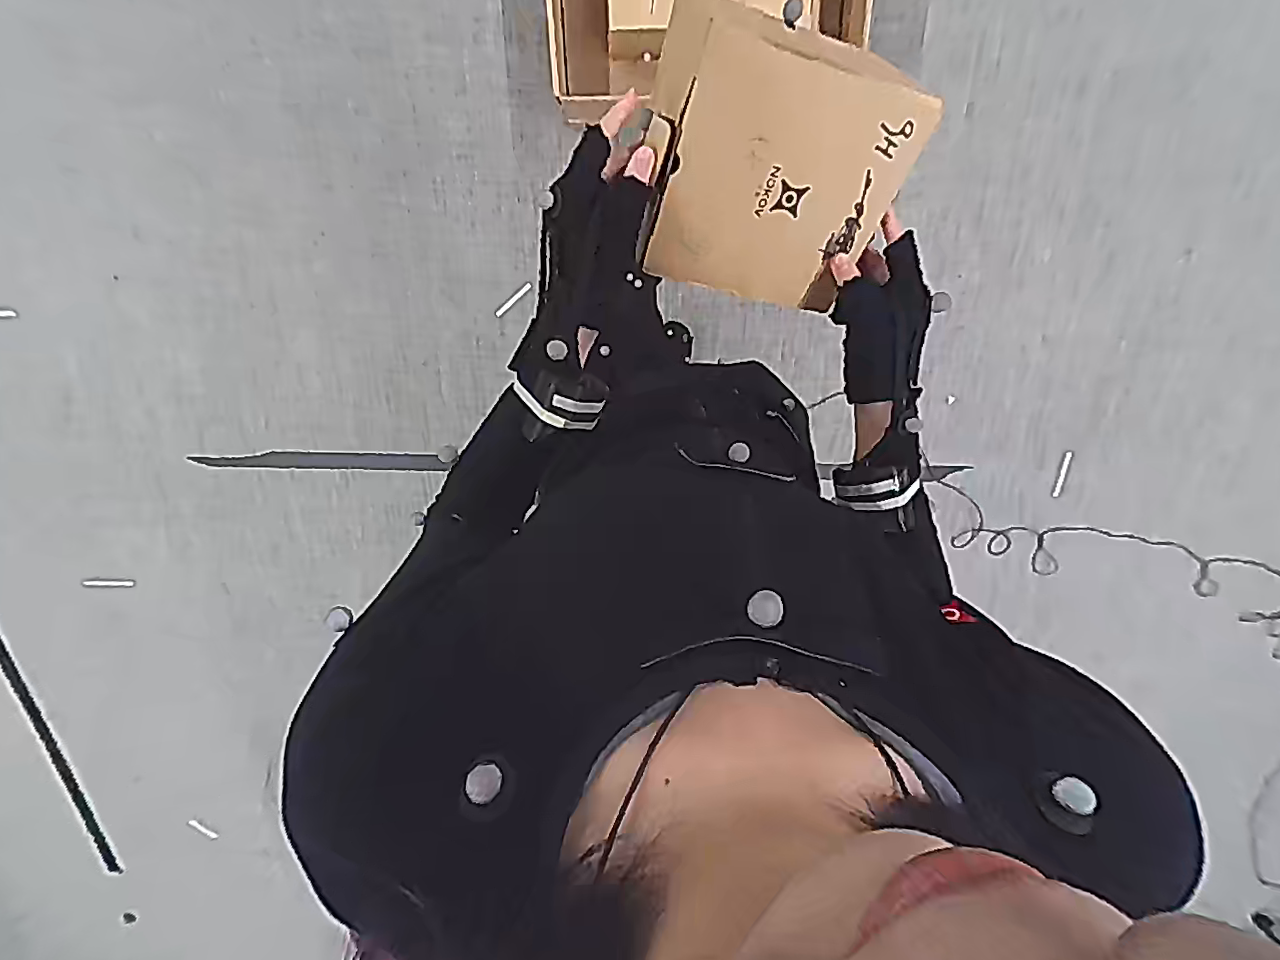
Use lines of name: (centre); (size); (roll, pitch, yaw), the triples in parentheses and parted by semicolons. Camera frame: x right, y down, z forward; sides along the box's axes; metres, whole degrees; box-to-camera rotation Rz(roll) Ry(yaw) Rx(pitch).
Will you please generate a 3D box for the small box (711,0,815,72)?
small box: (0.238, -0.936, 1.071); (0.179, 0.176, 0.168); (-1, 110, 2)
